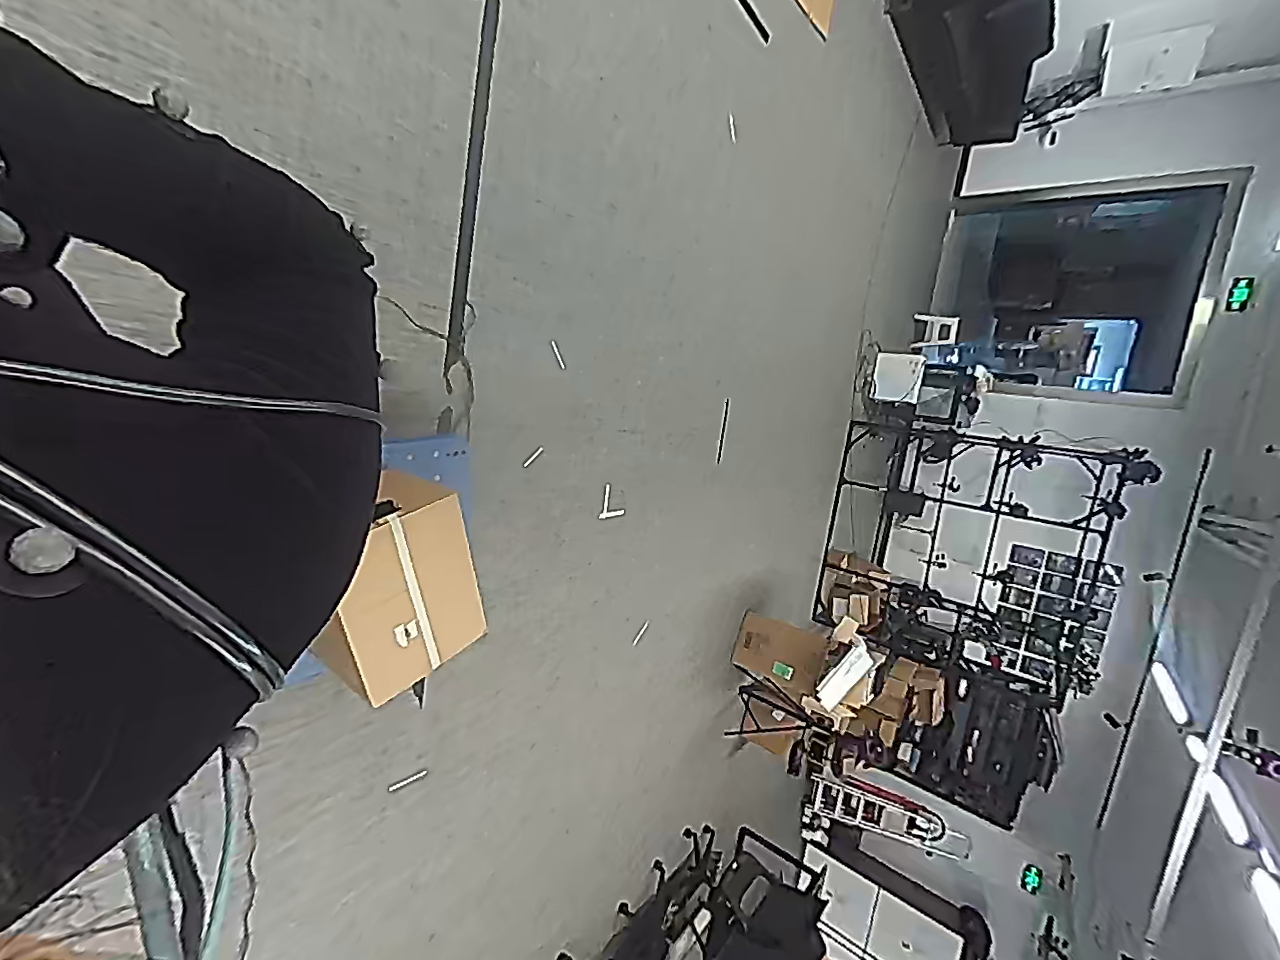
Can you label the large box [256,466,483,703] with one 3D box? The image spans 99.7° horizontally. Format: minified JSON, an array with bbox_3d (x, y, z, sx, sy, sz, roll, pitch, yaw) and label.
[{"bbox_3d":[-0.626,0.225,1.287,0.320,0.320,0.408,-29,125,-44],"label":"large box"}]
